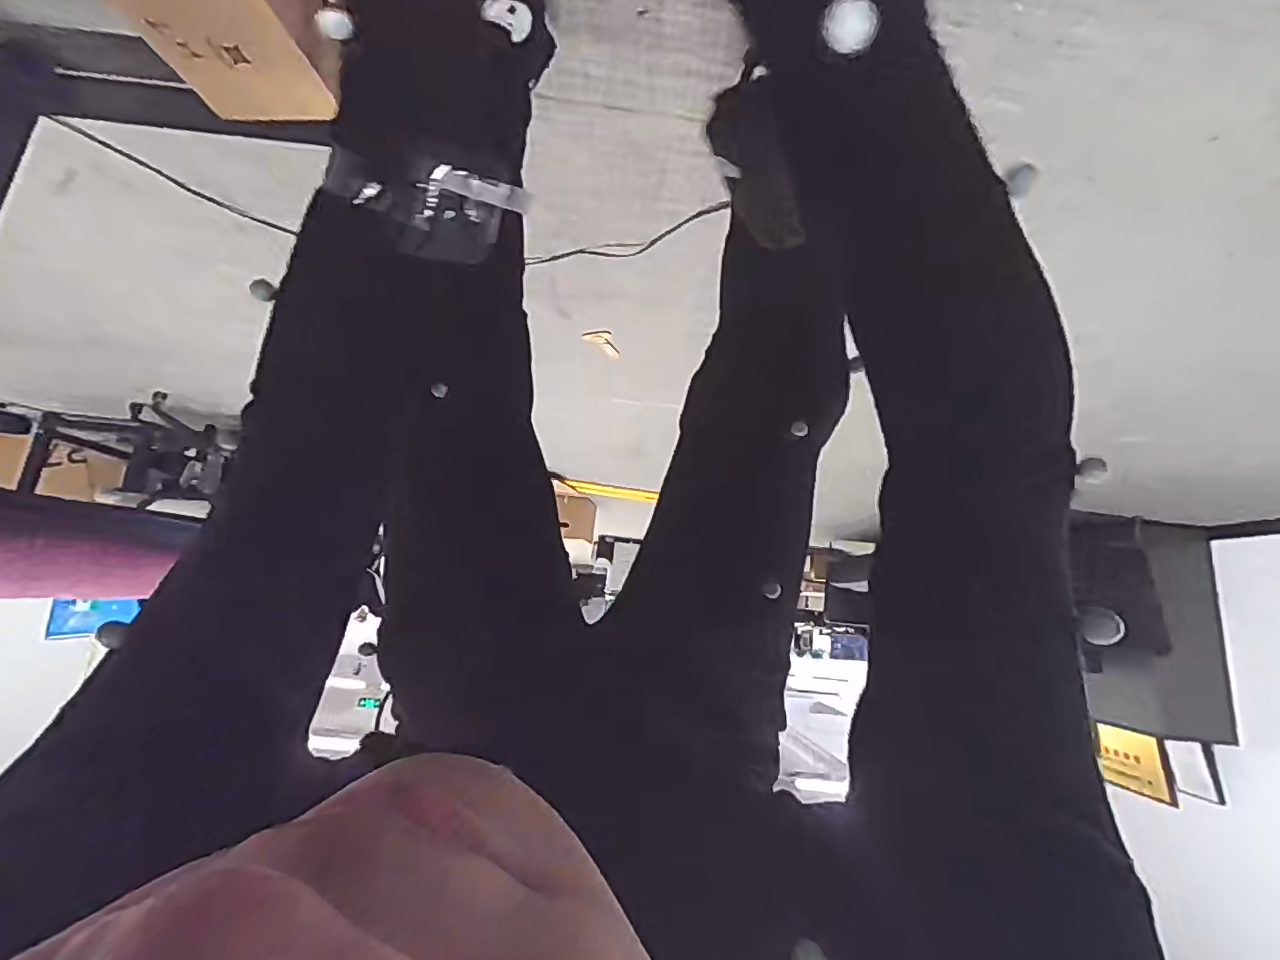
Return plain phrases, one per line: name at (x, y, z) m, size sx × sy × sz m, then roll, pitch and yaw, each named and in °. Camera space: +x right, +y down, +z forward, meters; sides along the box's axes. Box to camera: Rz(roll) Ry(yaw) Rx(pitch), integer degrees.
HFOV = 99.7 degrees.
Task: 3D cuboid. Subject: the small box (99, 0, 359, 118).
small box at (-0.434, -0.534, 0.588) m, size 0.179 × 0.176 × 0.168 m, roll 4°, pitch 167°, yaw 6°
